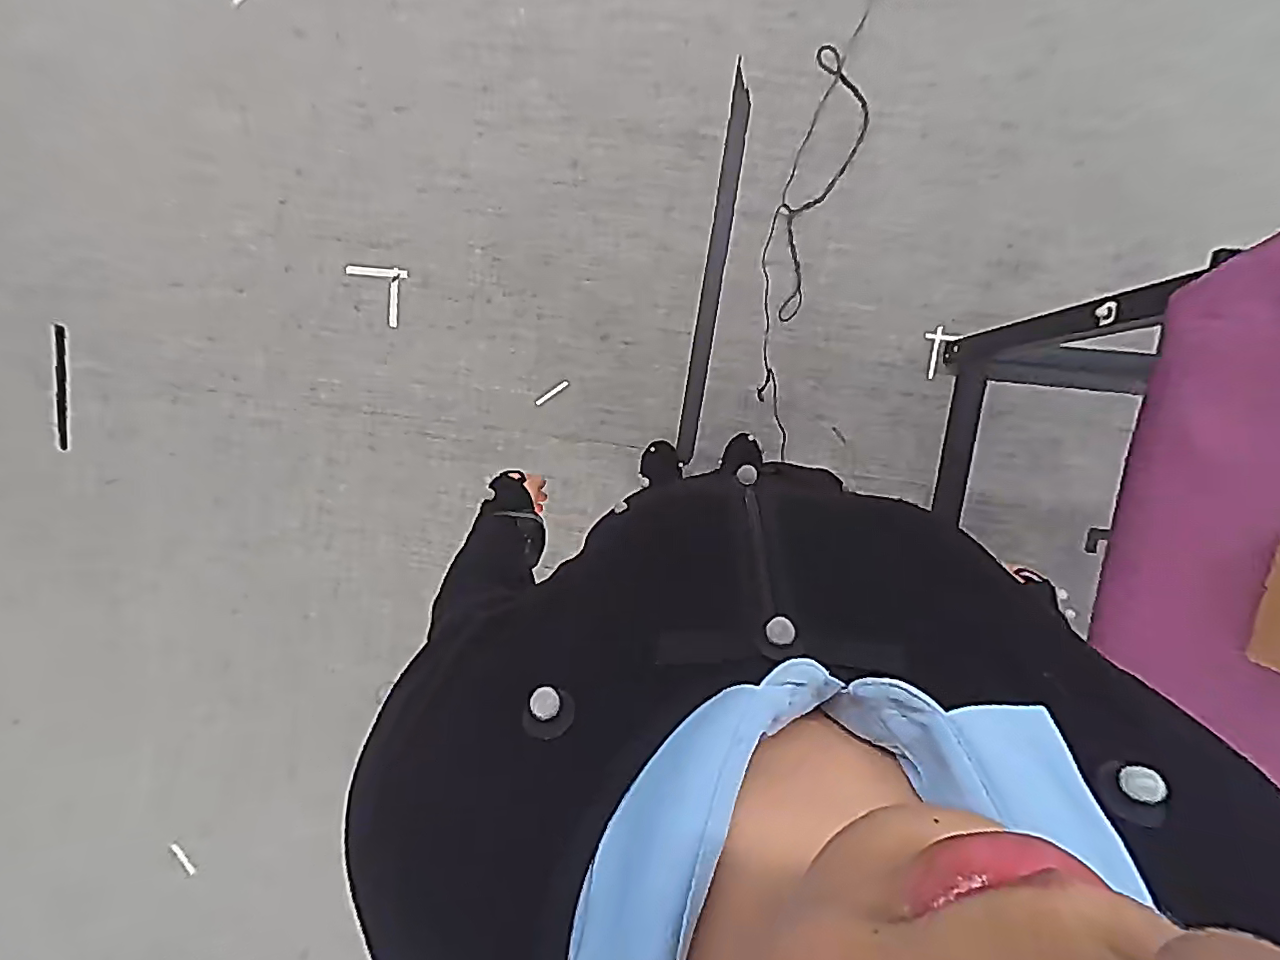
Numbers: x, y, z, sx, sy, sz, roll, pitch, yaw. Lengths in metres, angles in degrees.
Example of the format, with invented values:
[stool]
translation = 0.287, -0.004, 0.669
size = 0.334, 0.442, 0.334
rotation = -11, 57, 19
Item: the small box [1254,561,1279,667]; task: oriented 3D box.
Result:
[small box]
translation = 0.910, 0.180, 0.640
size = 0.168, 0.176, 0.179
rotation = 9, 97, 2
